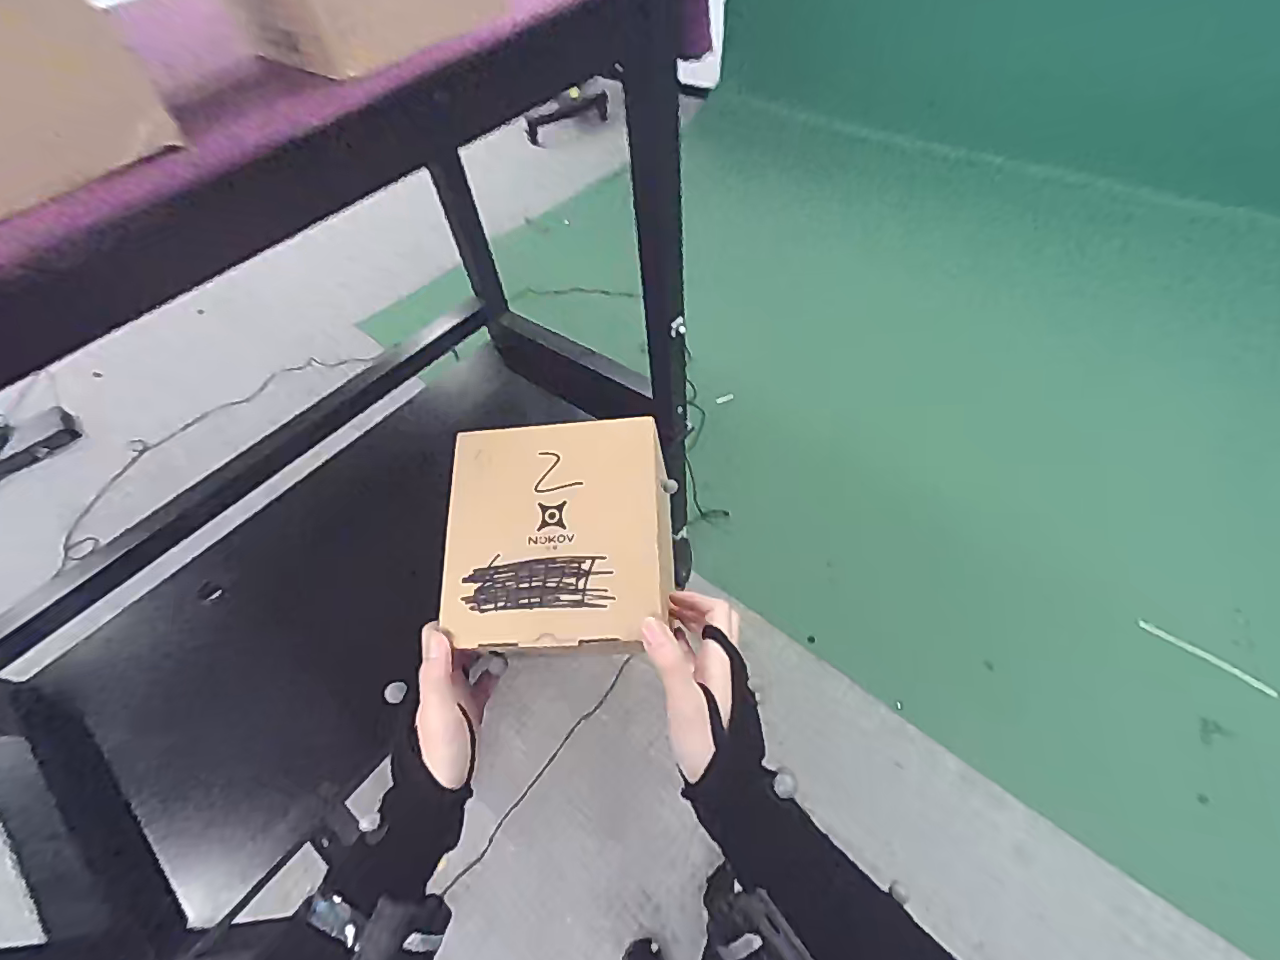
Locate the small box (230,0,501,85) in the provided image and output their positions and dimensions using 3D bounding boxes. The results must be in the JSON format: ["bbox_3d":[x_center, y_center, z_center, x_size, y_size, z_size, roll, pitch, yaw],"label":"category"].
[{"bbox_3d":[-0.240,-0.445,0.426,0.168,0.176,0.179,31,64,25],"label":"small box"}]

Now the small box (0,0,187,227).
[{"bbox_3d":[-0.427,-0.255,0.307,0.168,0.176,0.179,32,62,26],"label":"small box"}]
